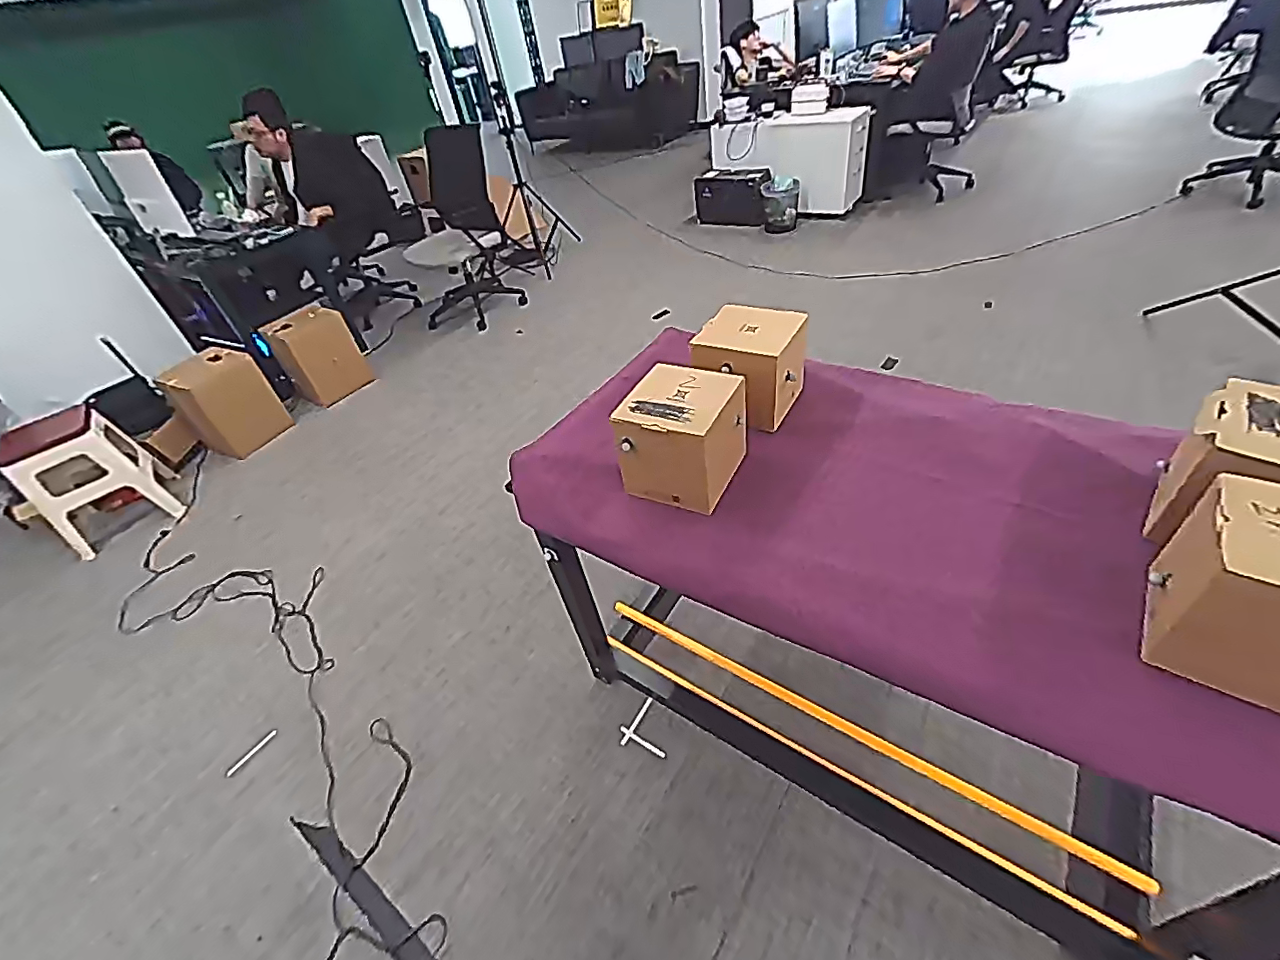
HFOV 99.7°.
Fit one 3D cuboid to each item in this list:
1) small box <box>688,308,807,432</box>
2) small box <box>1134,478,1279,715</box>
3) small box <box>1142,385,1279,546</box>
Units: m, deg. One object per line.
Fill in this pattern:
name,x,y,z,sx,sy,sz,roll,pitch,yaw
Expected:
small box,0.213,-0.215,1.067,0.179,0.176,0.168,17,48,28
small box,0.682,0.131,0.576,0.179,0.176,0.168,21,48,32
small box,0.795,0.009,0.688,0.179,0.176,0.168,26,55,33
